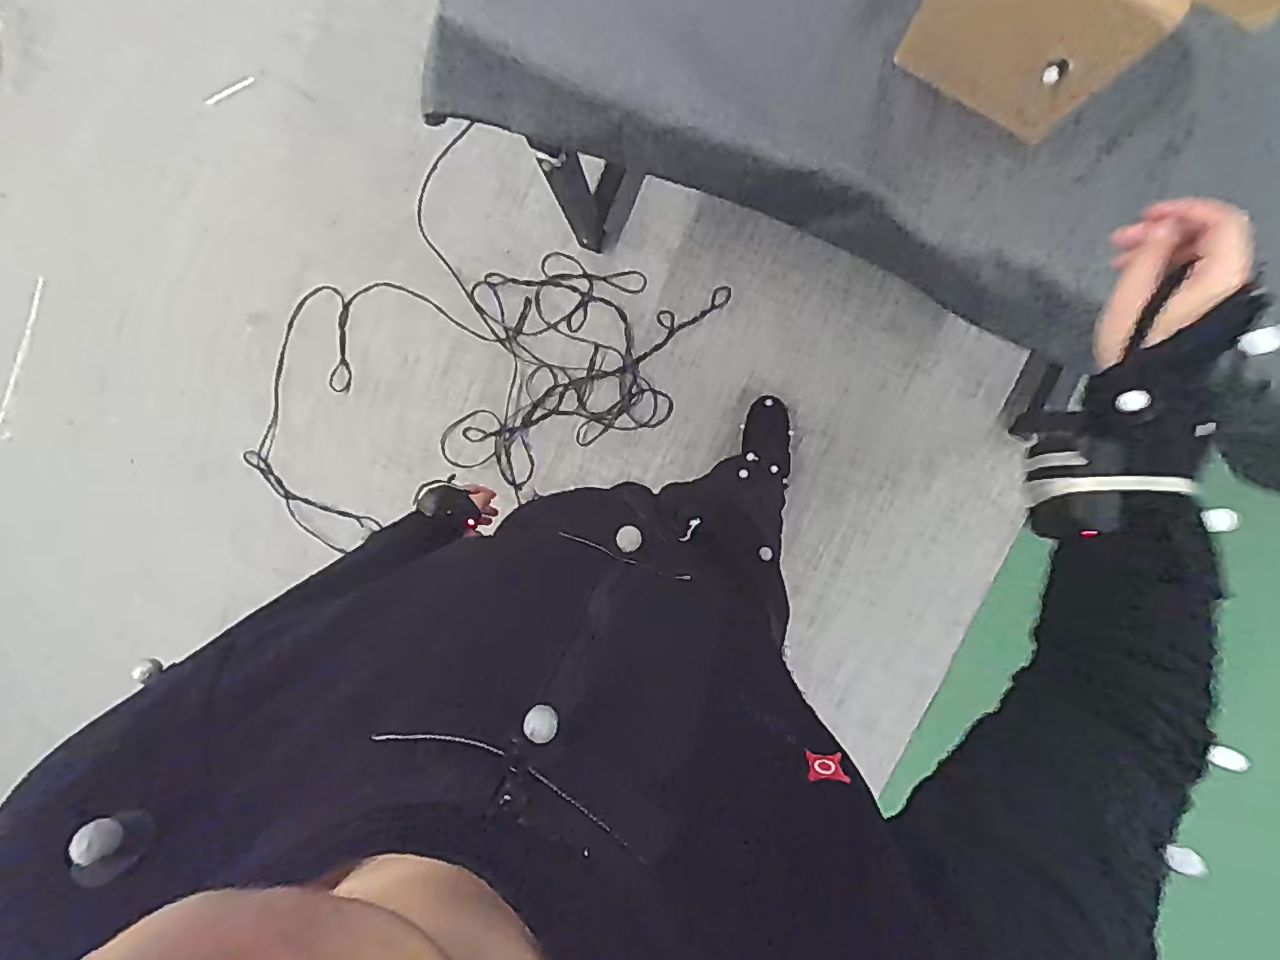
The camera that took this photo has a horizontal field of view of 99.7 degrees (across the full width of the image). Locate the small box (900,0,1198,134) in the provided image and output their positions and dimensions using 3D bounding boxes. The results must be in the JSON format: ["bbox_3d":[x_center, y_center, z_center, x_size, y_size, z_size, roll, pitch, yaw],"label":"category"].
[{"bbox_3d":[0.375,-0.452,0.477,0.179,0.176,0.168,31,94,2],"label":"small box"}]
